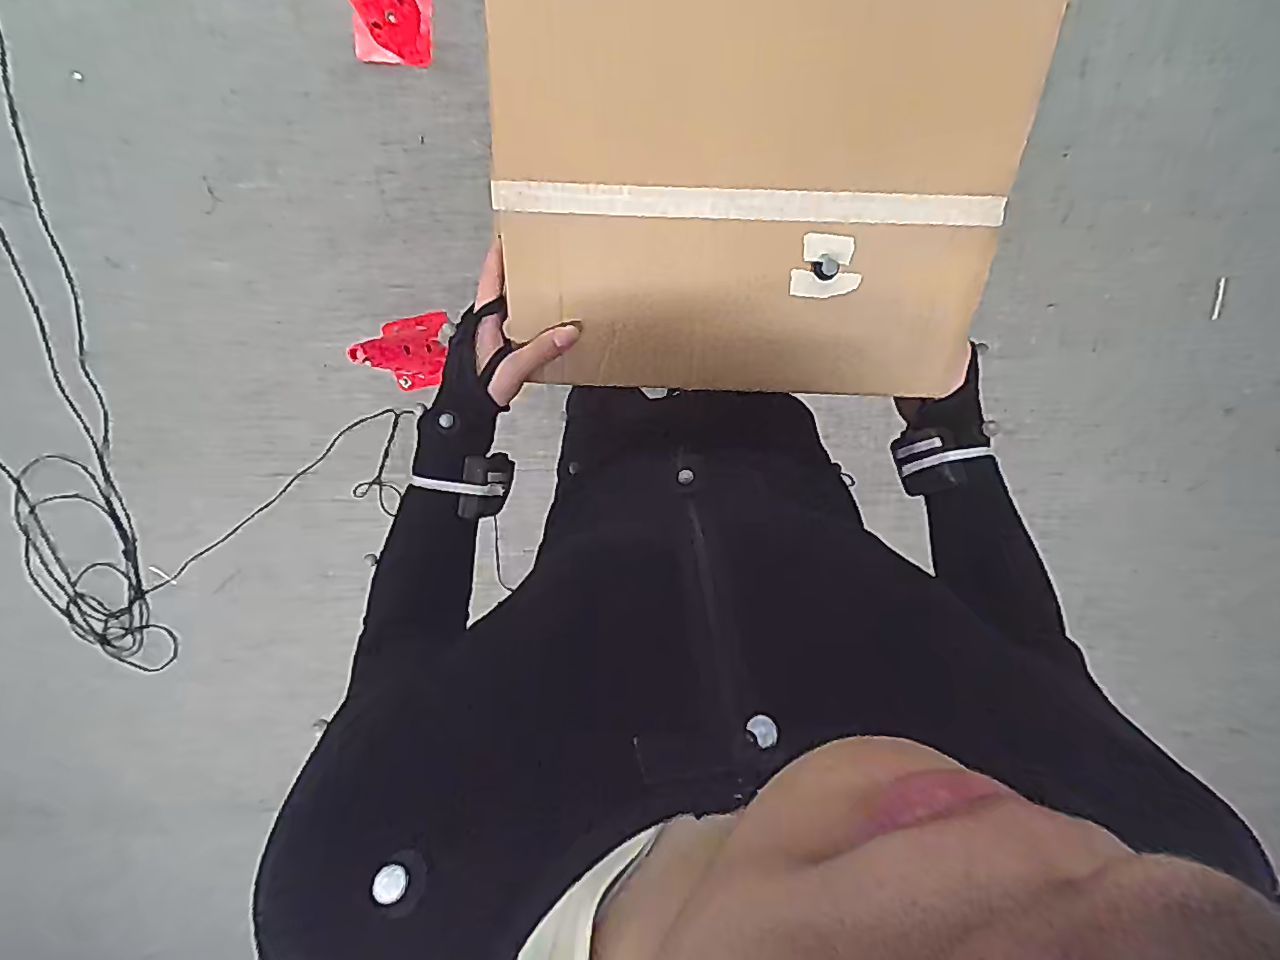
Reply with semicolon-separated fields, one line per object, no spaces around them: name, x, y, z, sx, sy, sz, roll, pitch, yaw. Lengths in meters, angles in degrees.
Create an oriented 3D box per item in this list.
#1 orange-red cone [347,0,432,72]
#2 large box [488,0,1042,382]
orange-red cone;-0.642;-1.122;1.213;0.199;0.360;0.198;7;102;2
large box;0.086;-0.297;0.573;0.408;0.320;0.320;1;118;-1
